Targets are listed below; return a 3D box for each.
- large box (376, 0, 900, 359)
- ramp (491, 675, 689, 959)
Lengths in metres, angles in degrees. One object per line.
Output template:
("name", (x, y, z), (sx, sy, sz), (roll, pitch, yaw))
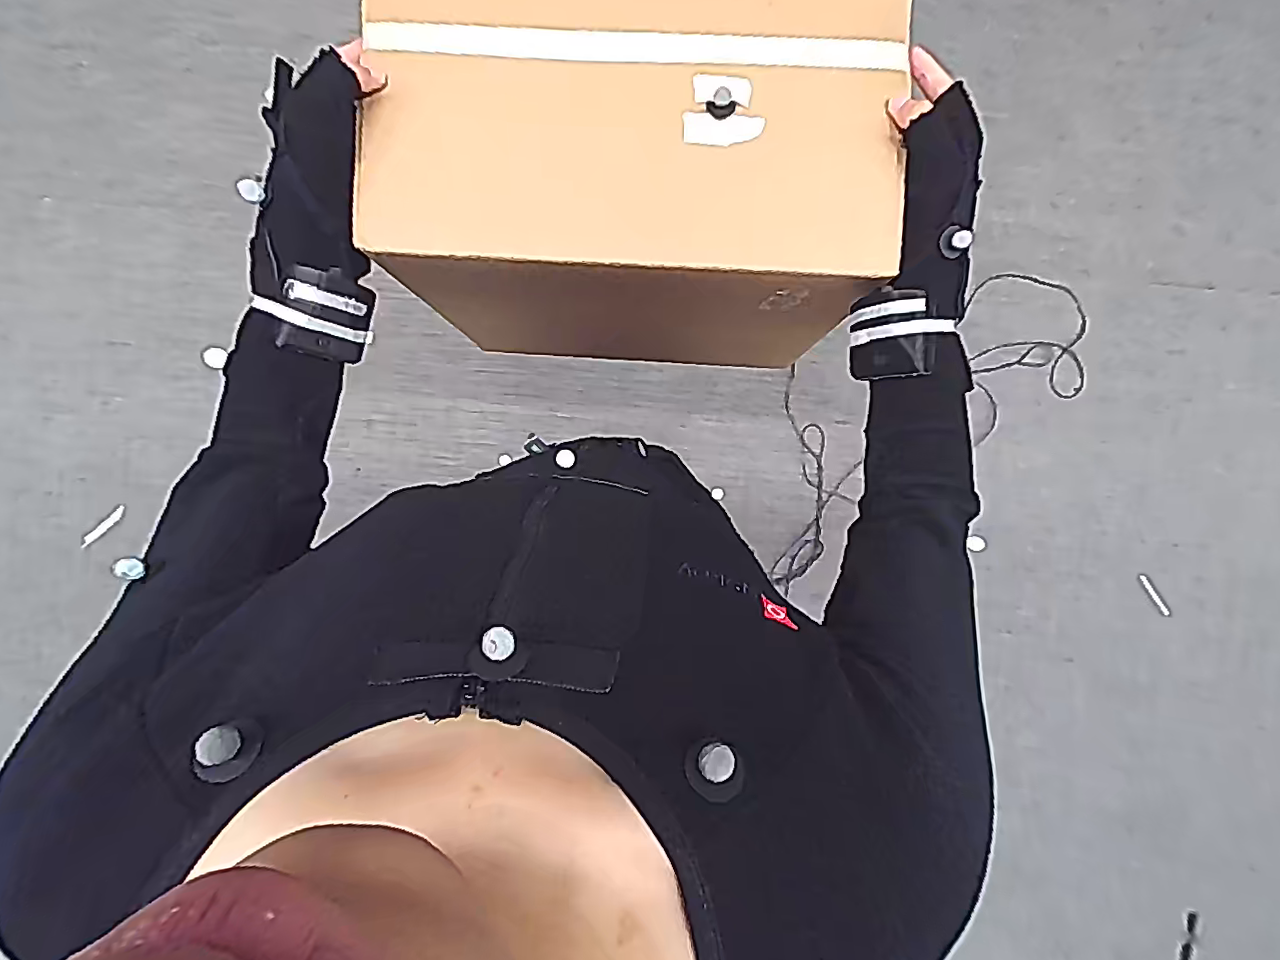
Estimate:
("large box", (-0.001, -0.320, 0.566), (0.408, 0.320, 0.320), (3, 89, 1))
("ramp", (-0.139, 1.057, 1.467), (0.509, 0.206, 0.991), (2, 93, 1))
